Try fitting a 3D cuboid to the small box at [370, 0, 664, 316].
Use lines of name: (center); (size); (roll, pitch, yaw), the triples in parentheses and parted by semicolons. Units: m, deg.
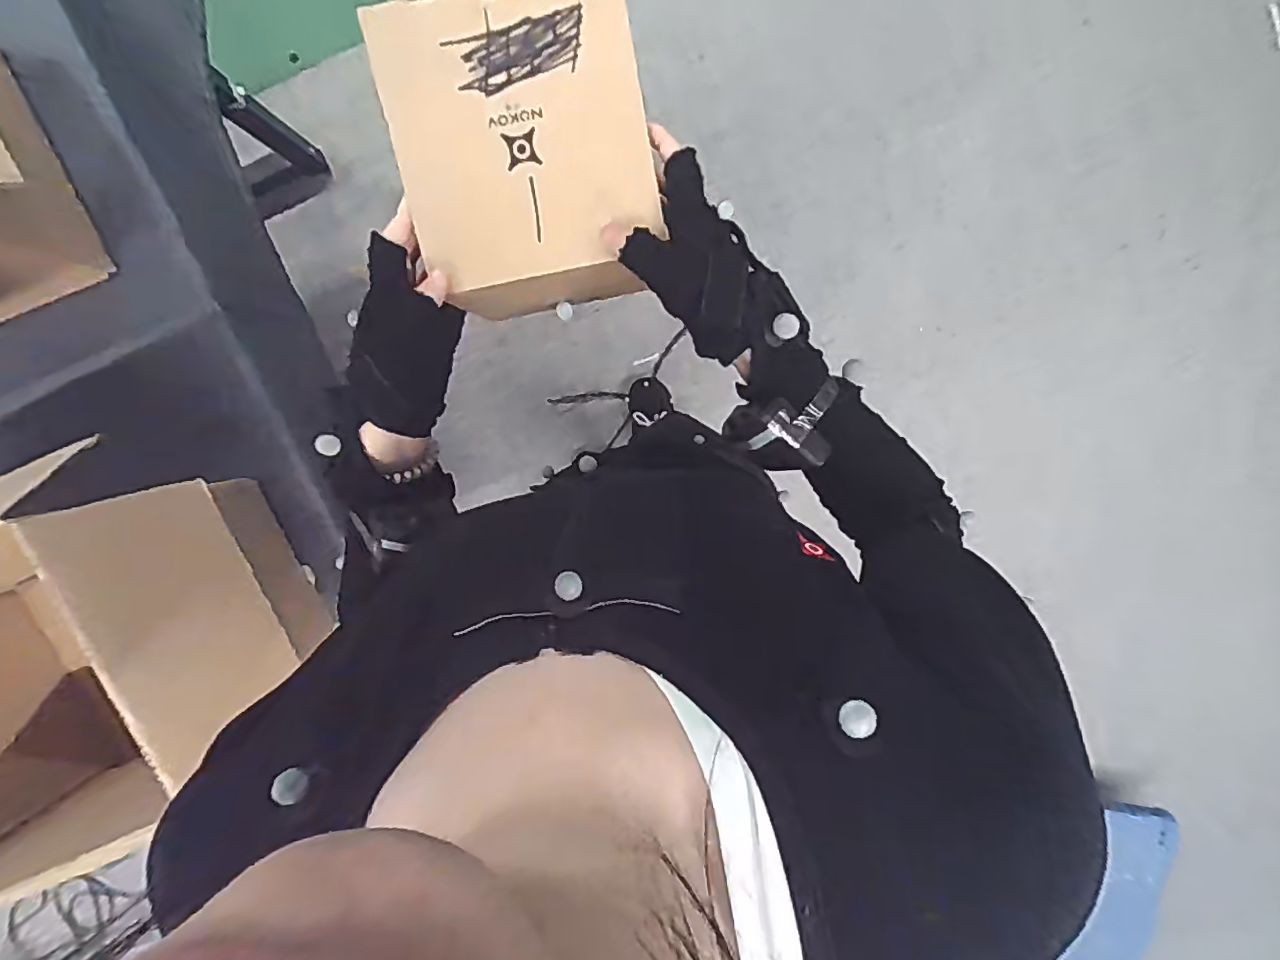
small box: (-0.081, -0.242, 0.435); (0.168, 0.176, 0.179); (-11, 101, -1)
